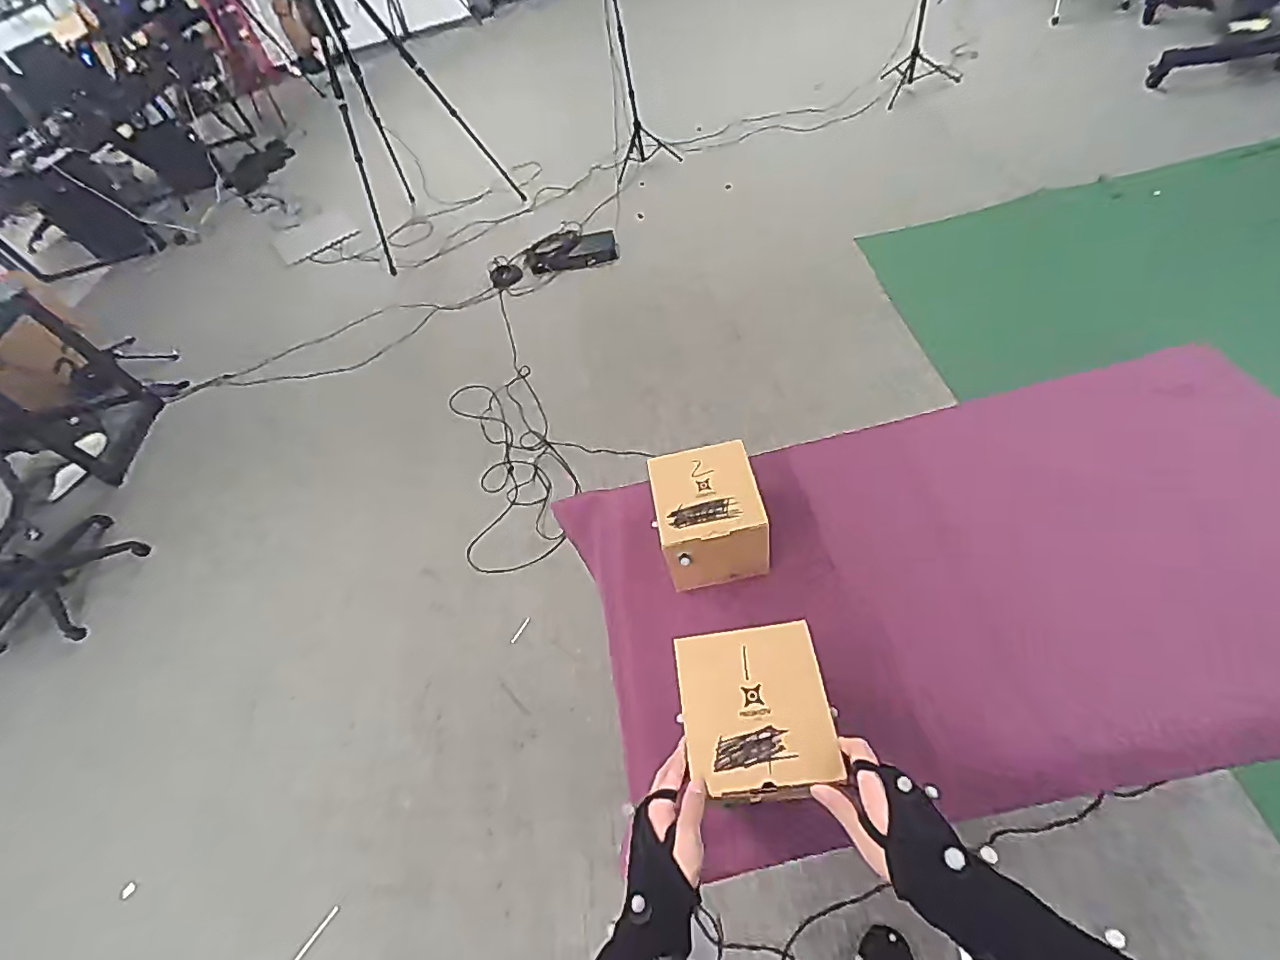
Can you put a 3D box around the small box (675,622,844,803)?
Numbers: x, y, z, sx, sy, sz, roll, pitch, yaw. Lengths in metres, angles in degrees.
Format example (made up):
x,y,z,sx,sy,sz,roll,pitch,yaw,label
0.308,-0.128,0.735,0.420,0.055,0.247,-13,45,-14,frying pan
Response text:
x,y,z,sx,sy,sz,roll,pitch,yaw,label
0.145,0.300,0.681,0.168,0.176,0.179,-10,54,6,small box
